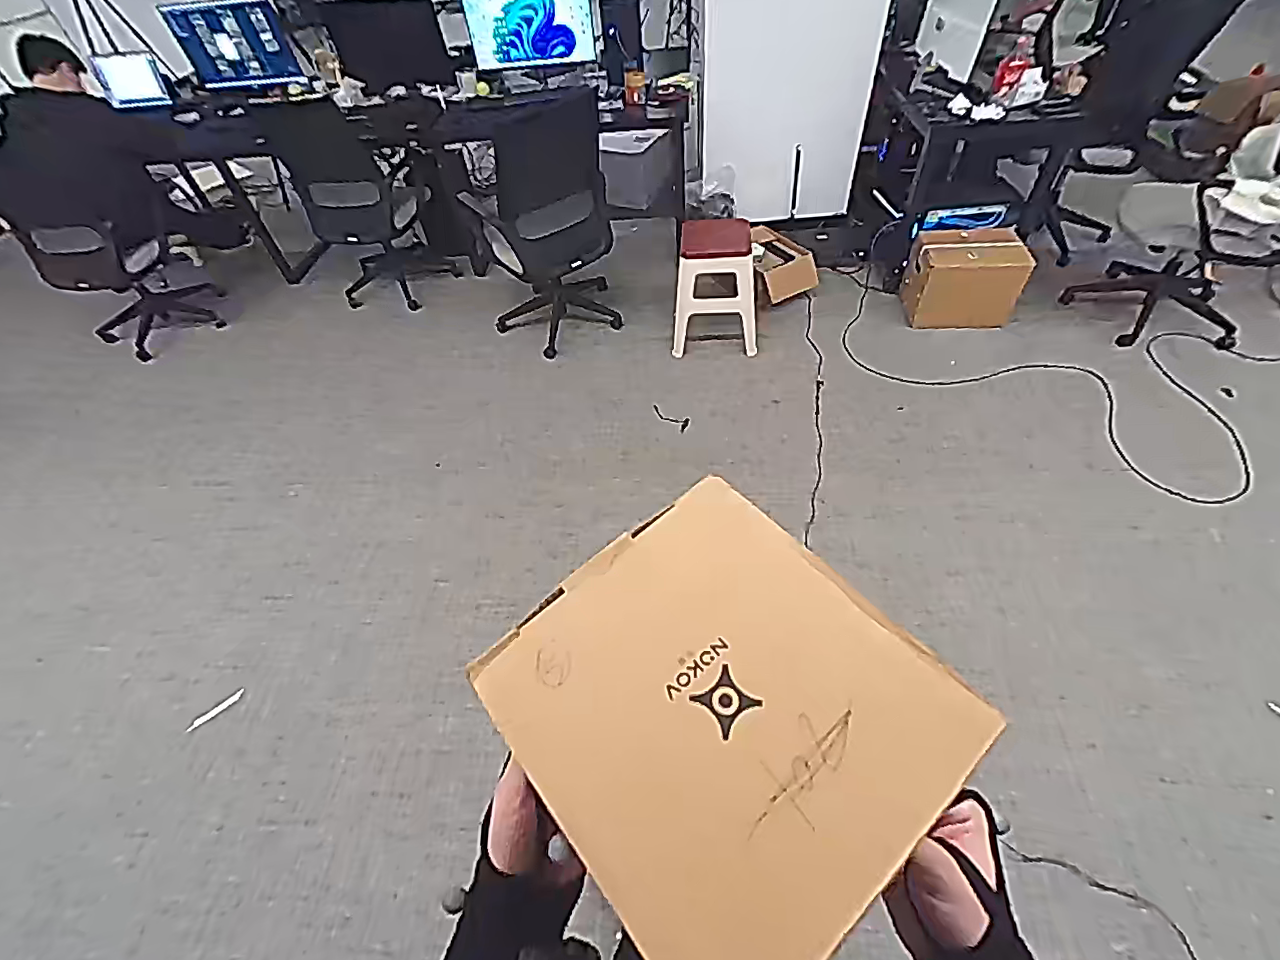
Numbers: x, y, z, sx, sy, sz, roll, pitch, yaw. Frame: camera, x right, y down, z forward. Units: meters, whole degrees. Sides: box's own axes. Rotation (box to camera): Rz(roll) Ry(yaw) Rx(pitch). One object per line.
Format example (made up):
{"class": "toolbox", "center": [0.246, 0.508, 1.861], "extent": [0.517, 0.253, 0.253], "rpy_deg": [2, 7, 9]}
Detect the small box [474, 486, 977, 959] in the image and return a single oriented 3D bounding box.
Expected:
{"class": "small box", "center": [0.038, 0.144, 0.316], "extent": [0.168, 0.176, 0.179], "rpy_deg": [-37, 61, -18]}
